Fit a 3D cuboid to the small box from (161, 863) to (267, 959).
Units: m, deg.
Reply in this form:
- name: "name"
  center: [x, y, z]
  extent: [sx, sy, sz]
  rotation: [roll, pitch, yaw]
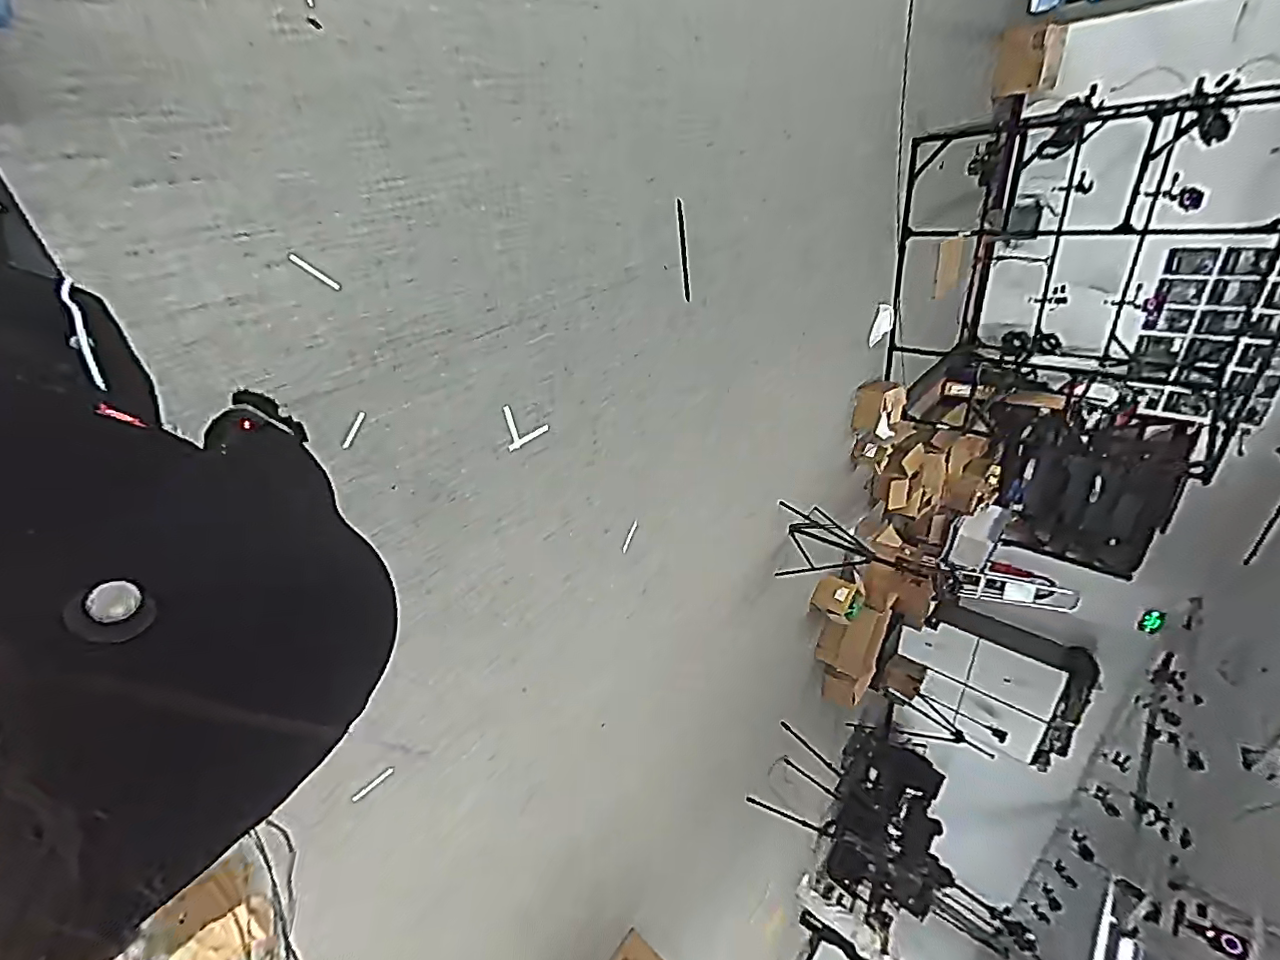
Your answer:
- name: "small box"
  center: [-1.152, 1.189, 1.462]
  extent: [0.168, 0.176, 0.179]
  rotation: [-27, 126, -39]
